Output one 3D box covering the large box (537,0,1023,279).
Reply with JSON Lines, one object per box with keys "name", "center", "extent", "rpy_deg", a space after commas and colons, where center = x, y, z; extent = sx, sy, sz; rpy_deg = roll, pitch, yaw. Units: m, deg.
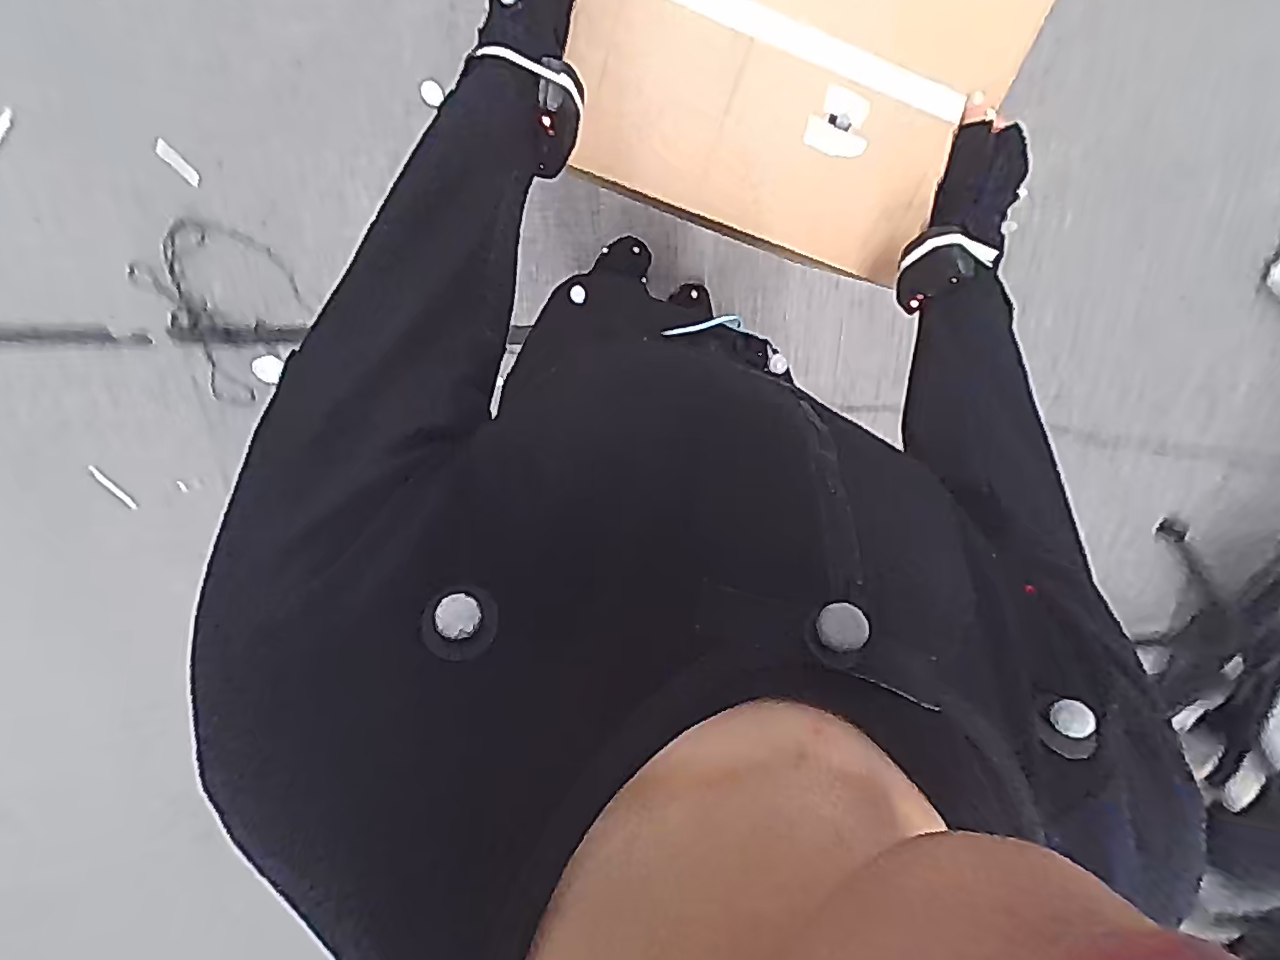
{"name": "large box", "center": [0.120, -0.459, 0.628], "extent": [0.408, 0.320, 0.320], "rpy_deg": [14, 115, -10]}
